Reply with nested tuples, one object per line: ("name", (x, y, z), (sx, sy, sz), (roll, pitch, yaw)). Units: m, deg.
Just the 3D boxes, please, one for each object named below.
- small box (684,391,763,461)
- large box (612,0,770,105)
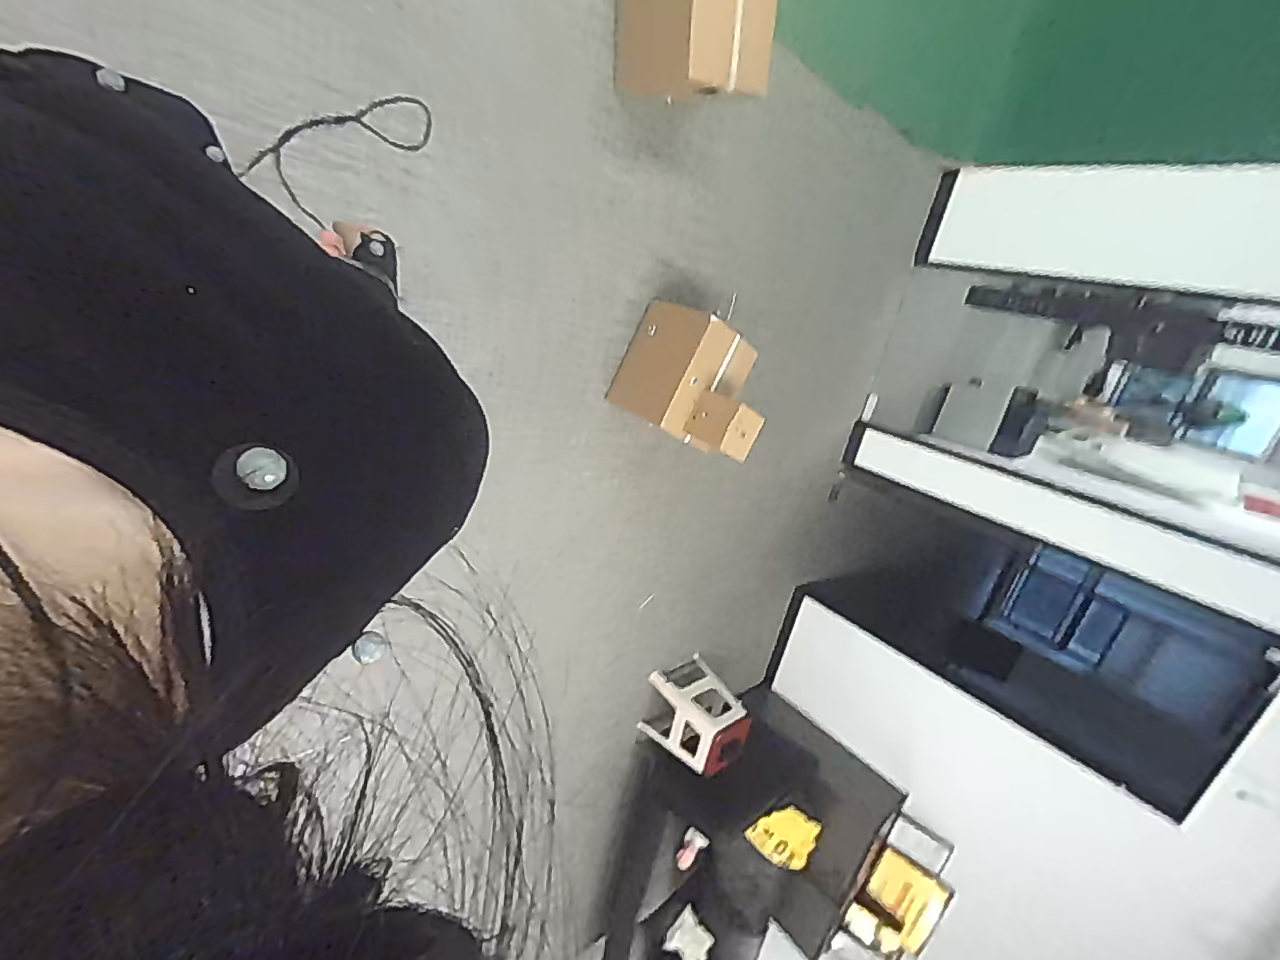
("small box", (0.283, -0.188, 1.846), (0.179, 0.176, 0.168), (21, 97, -49))
("large box", (0.133, -1.275, 1.450), (0.320, 0.320, 0.408), (-20, 124, -36))
